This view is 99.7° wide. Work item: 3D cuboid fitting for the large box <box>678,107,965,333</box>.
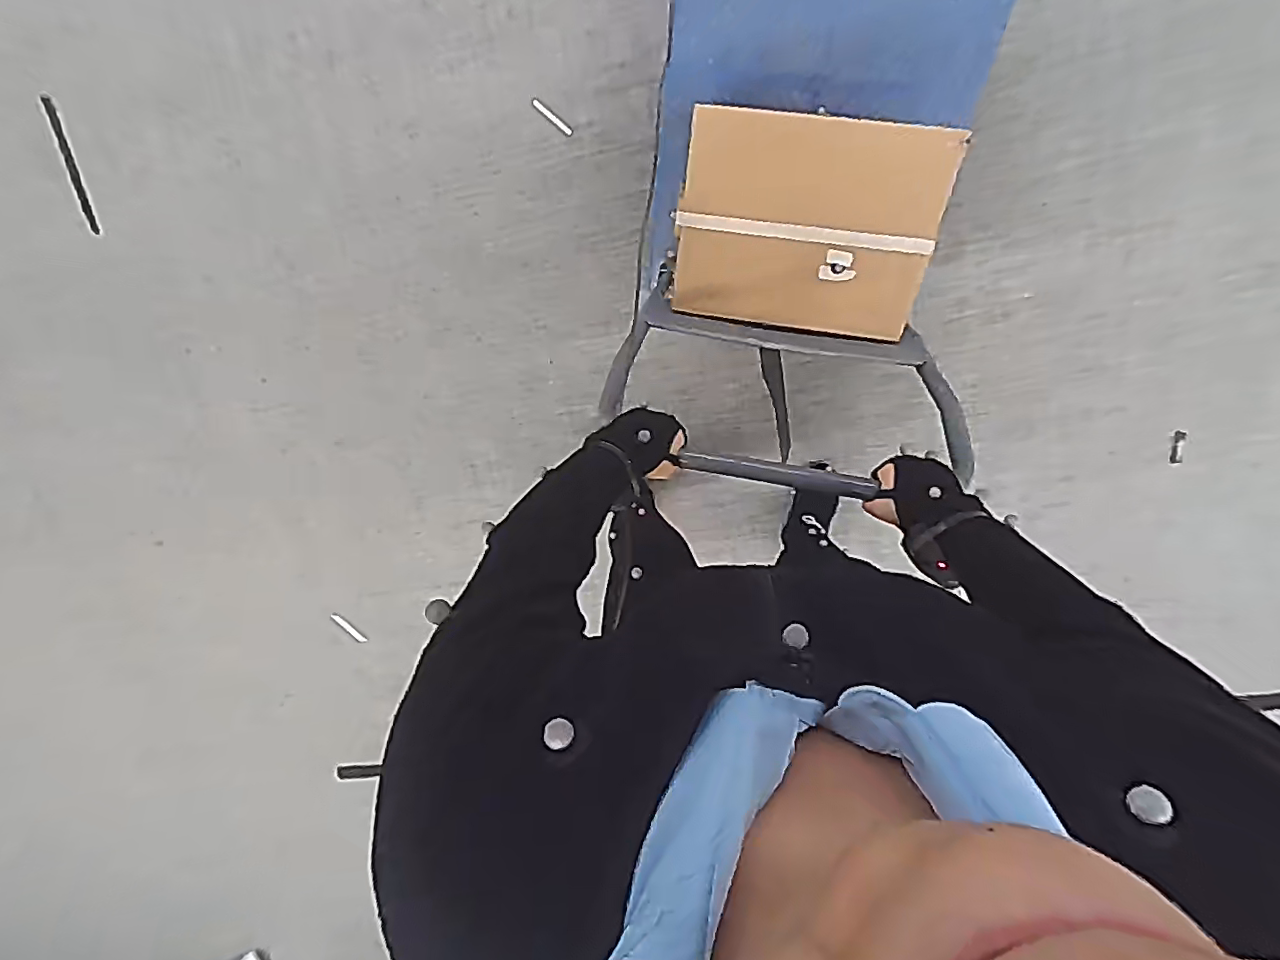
[{"bbox_3d":[0.296,-0.493,1.019,0.408,0.320,0.320,9,124,5],"label":"large box"}]
